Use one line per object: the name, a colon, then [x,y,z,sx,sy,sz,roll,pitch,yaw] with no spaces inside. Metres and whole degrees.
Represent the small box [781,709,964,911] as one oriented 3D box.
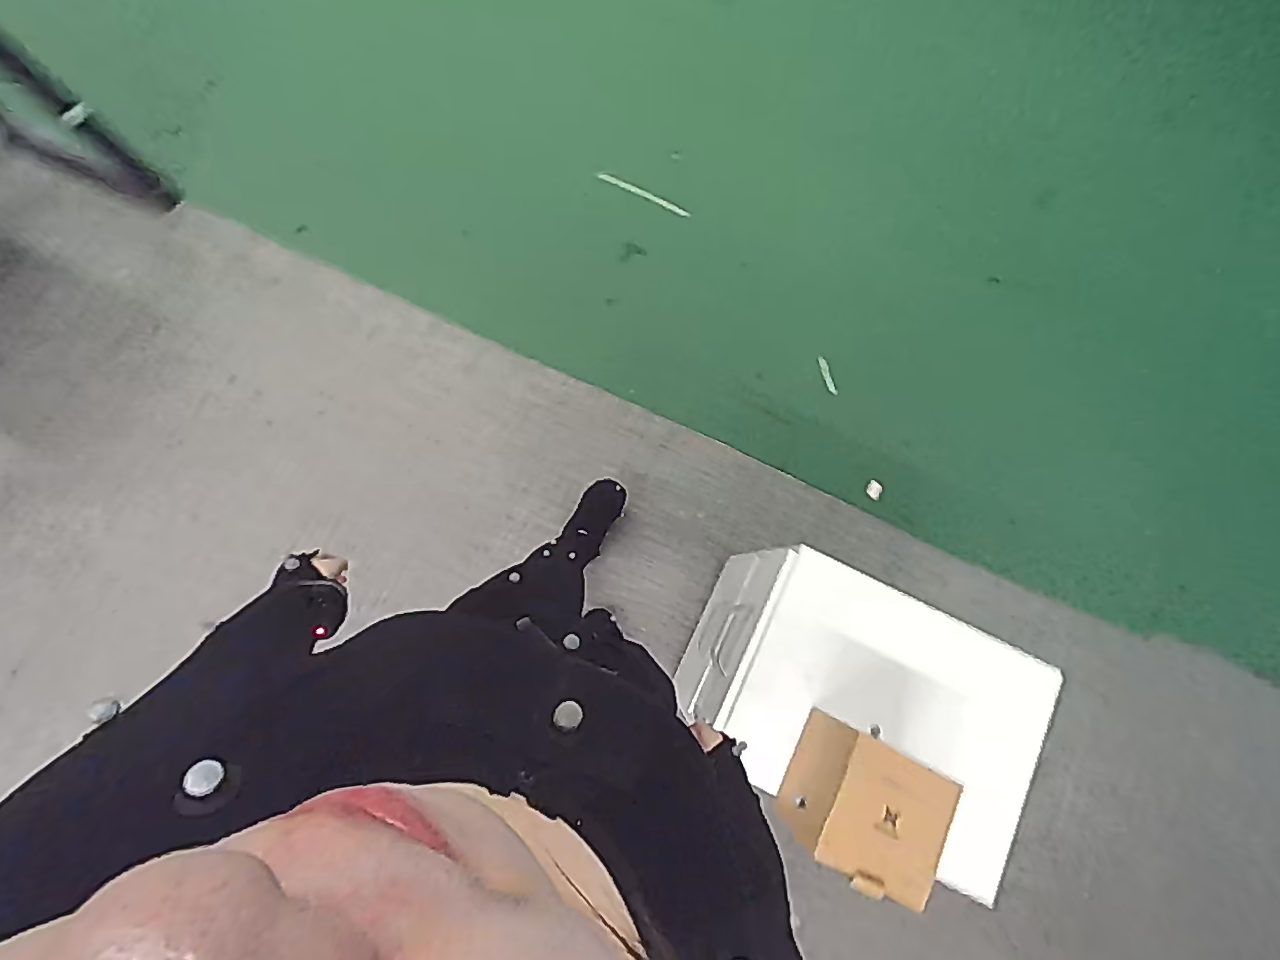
small box: [0.332,0.475,0.810,0.168,0.176,0.179,27,77,0]
